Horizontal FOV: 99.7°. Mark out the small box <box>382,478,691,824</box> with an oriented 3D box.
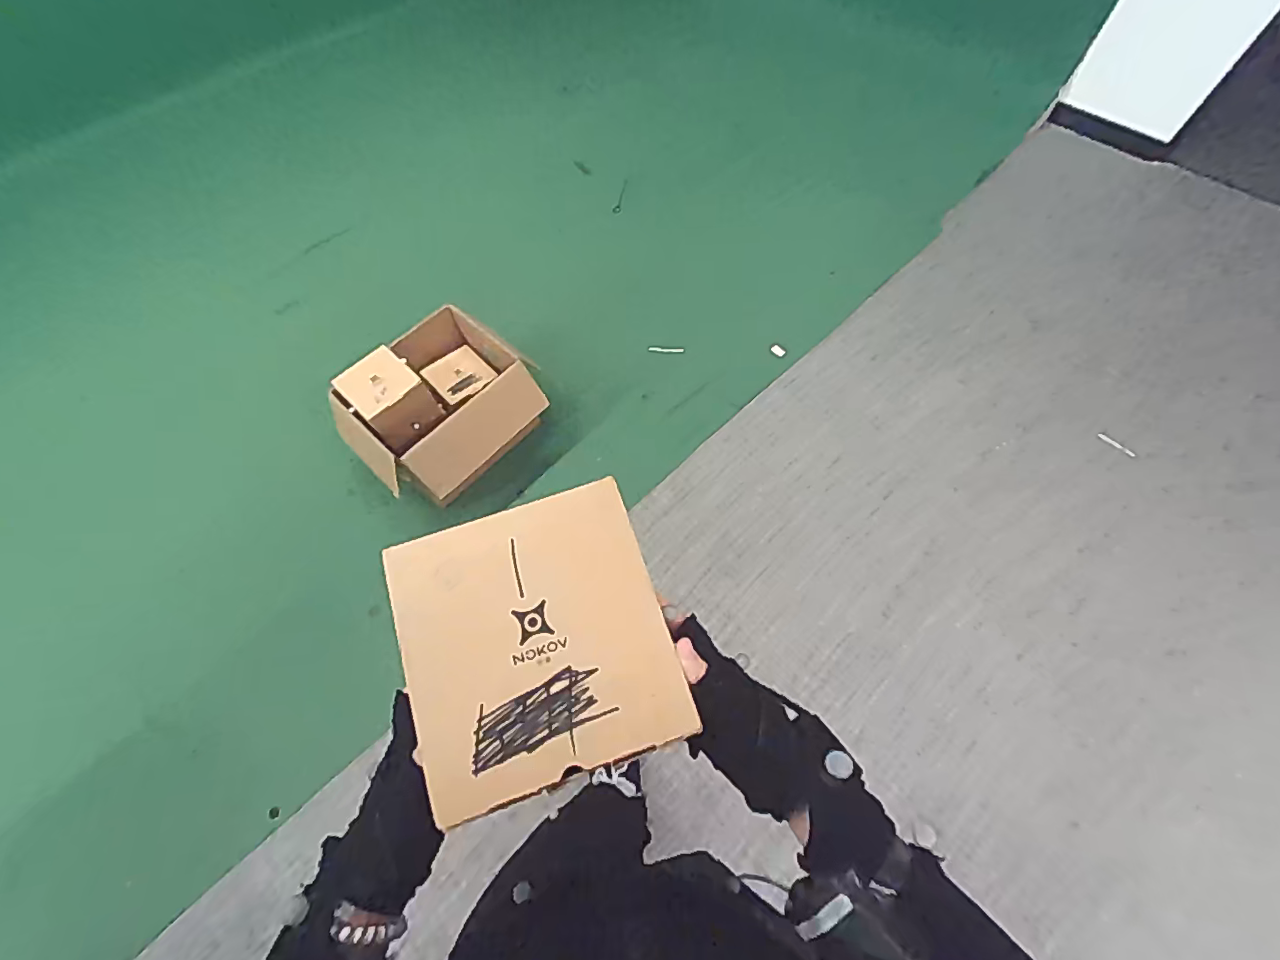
[{"bbox_3d":[-0.070,0.124,0.422,0.168,0.176,0.179,-18,72,-7],"label":"small box"}]
